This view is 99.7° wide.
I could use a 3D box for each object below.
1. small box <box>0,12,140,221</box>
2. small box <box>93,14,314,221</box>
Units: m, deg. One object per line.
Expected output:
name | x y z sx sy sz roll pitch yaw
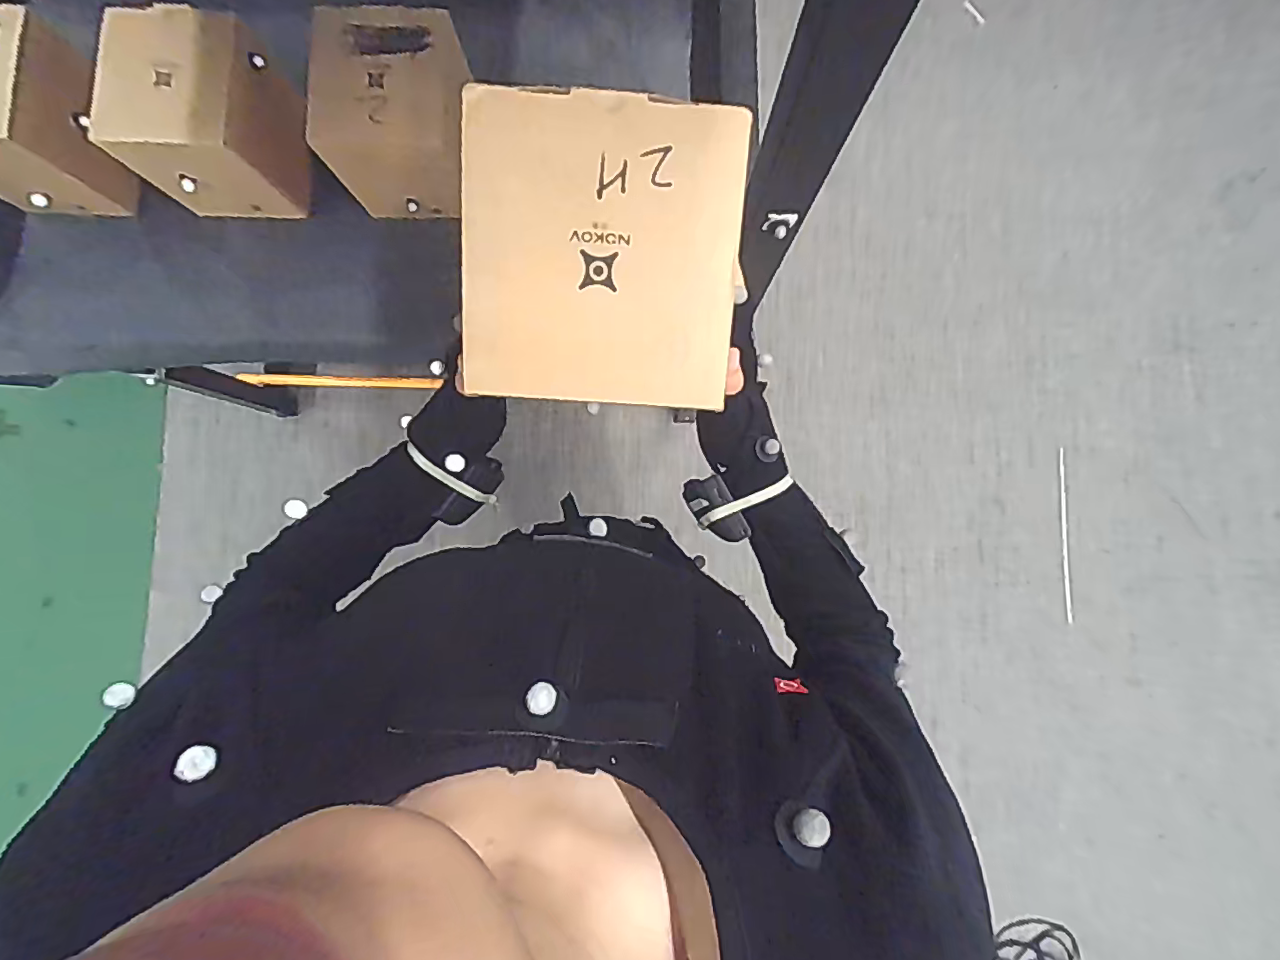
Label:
small box | -0.829 -0.484 0.735 0.168 0.176 0.179 2 86 0
small box | -0.577 -0.479 0.738 0.168 0.176 0.179 2 85 0
